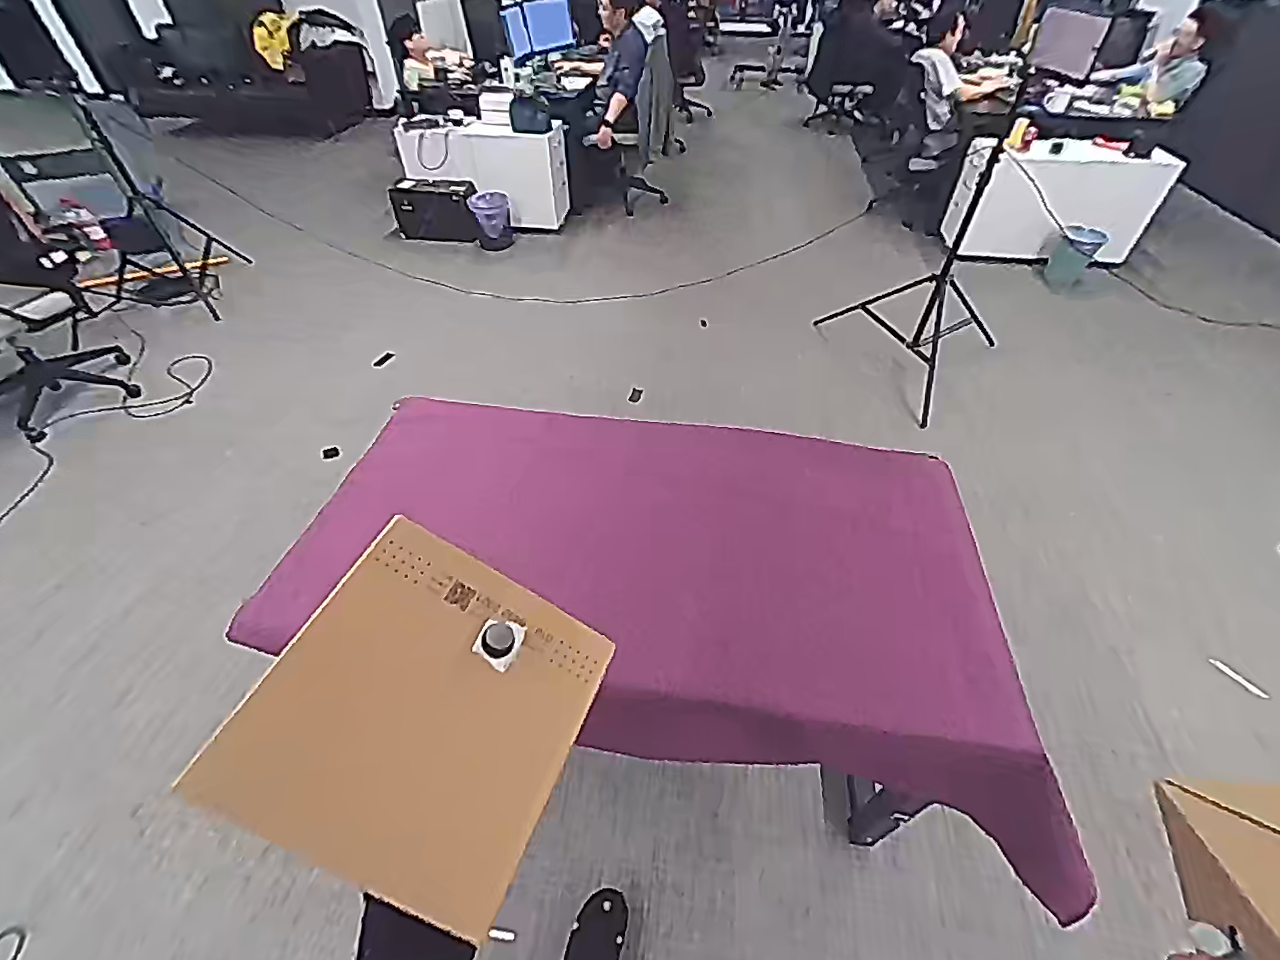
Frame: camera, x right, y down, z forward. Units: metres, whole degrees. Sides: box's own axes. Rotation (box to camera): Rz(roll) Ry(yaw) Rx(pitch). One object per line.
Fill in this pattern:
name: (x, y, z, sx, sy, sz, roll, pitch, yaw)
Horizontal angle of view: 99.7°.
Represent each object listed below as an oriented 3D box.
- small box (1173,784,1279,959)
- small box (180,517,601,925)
small box: (0.360, 0.241, 0.213, 0.168, 0.179, 0.176, -14, 84, 28)
small box: (-0.147, 0.156, 0.374, 0.168, 0.179, 0.176, 31, 54, -6)
